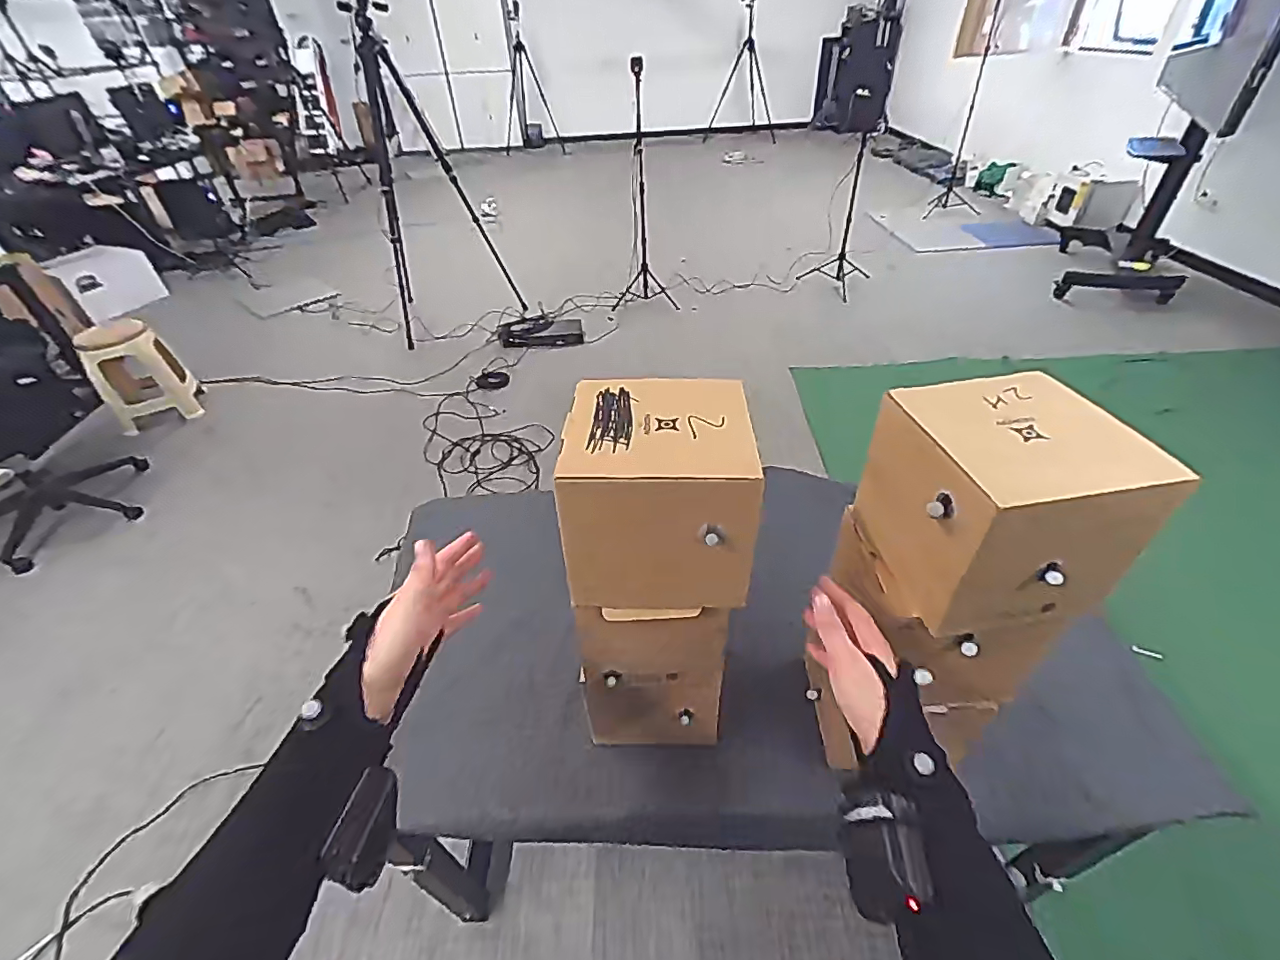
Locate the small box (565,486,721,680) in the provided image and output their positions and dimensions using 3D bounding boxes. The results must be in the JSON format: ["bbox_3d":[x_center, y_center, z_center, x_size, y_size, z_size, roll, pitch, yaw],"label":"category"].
[{"bbox_3d":[0.006,0.130,0.665,0.168,0.176,0.179,-3,38,0],"label":"small box"}]

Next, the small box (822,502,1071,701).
[{"bbox_3d":[0.328,0.138,0.626,0.179,0.176,0.168,-3,39,2],"label":"small box"}]

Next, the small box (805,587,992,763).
[{"bbox_3d":[0.329,0.263,0.730,0.168,0.176,0.179,-2,40,4],"label":"small box"}]

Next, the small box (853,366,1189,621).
[{"bbox_3d":[0.327,0.016,0.514,0.168,0.176,0.179,-8,40,-4],"label":"small box"}]

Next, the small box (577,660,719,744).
[{"bbox_3d":[0.015,0.257,0.768,0.179,0.176,0.168,-3,39,3],"label":"small box"}]
